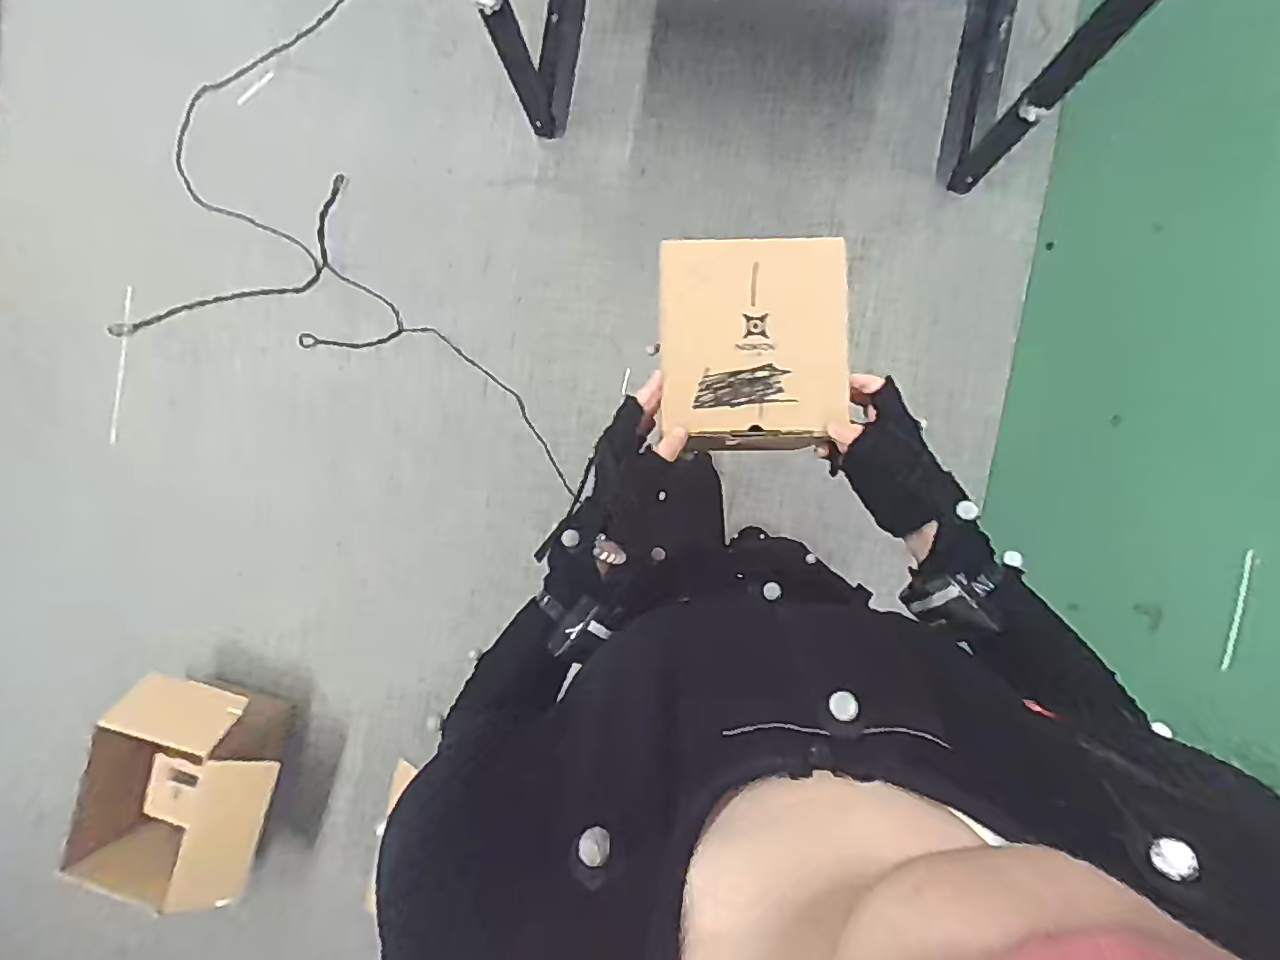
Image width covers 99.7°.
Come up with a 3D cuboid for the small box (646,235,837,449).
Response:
[{"bbox_3d":[0.092,-0.124,0.555,0.168,0.176,0.179,-2,87,2],"label":"small box"}]
